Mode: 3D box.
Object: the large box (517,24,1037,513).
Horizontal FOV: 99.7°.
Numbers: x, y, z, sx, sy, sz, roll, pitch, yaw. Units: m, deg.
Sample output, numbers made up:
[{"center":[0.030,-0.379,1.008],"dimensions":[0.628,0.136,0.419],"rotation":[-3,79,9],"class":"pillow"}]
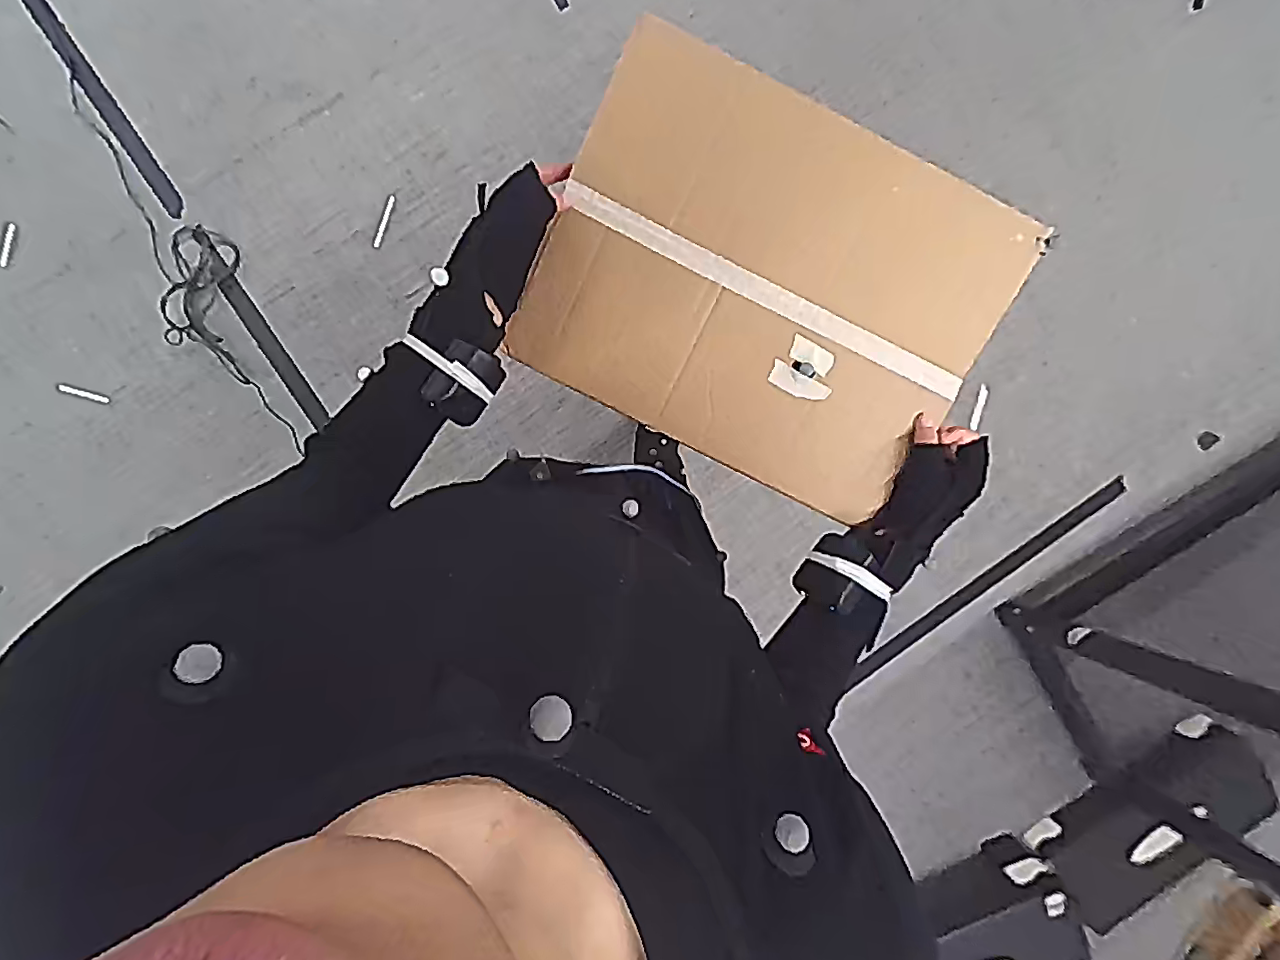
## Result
[{"center":[0.123,-0.211,0.654],"dimensions":[0.408,0.320,0.320],"rotation":[26,102,-4],"class":"large box"}]
